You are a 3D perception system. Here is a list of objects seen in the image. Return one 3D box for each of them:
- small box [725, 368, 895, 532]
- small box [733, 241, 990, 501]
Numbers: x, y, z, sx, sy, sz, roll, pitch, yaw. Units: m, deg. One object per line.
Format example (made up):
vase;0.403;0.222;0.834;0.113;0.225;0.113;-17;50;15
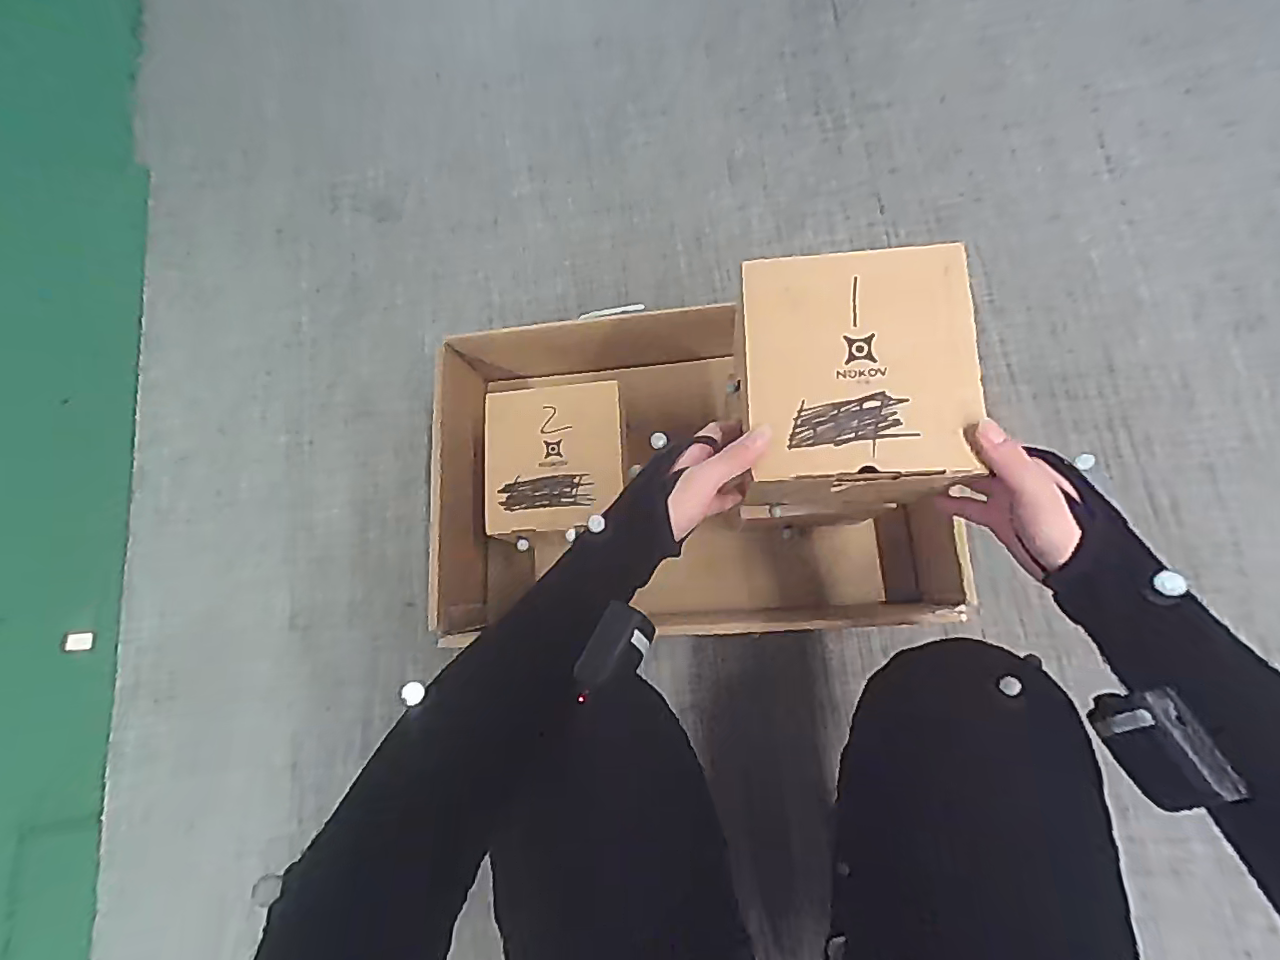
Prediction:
small box;0.196;-0.034;0.673;0.168;0.176;0.179;-5;78;7
small box;0.170;-0.076;0.473;0.168;0.176;0.179;-2;79;6
